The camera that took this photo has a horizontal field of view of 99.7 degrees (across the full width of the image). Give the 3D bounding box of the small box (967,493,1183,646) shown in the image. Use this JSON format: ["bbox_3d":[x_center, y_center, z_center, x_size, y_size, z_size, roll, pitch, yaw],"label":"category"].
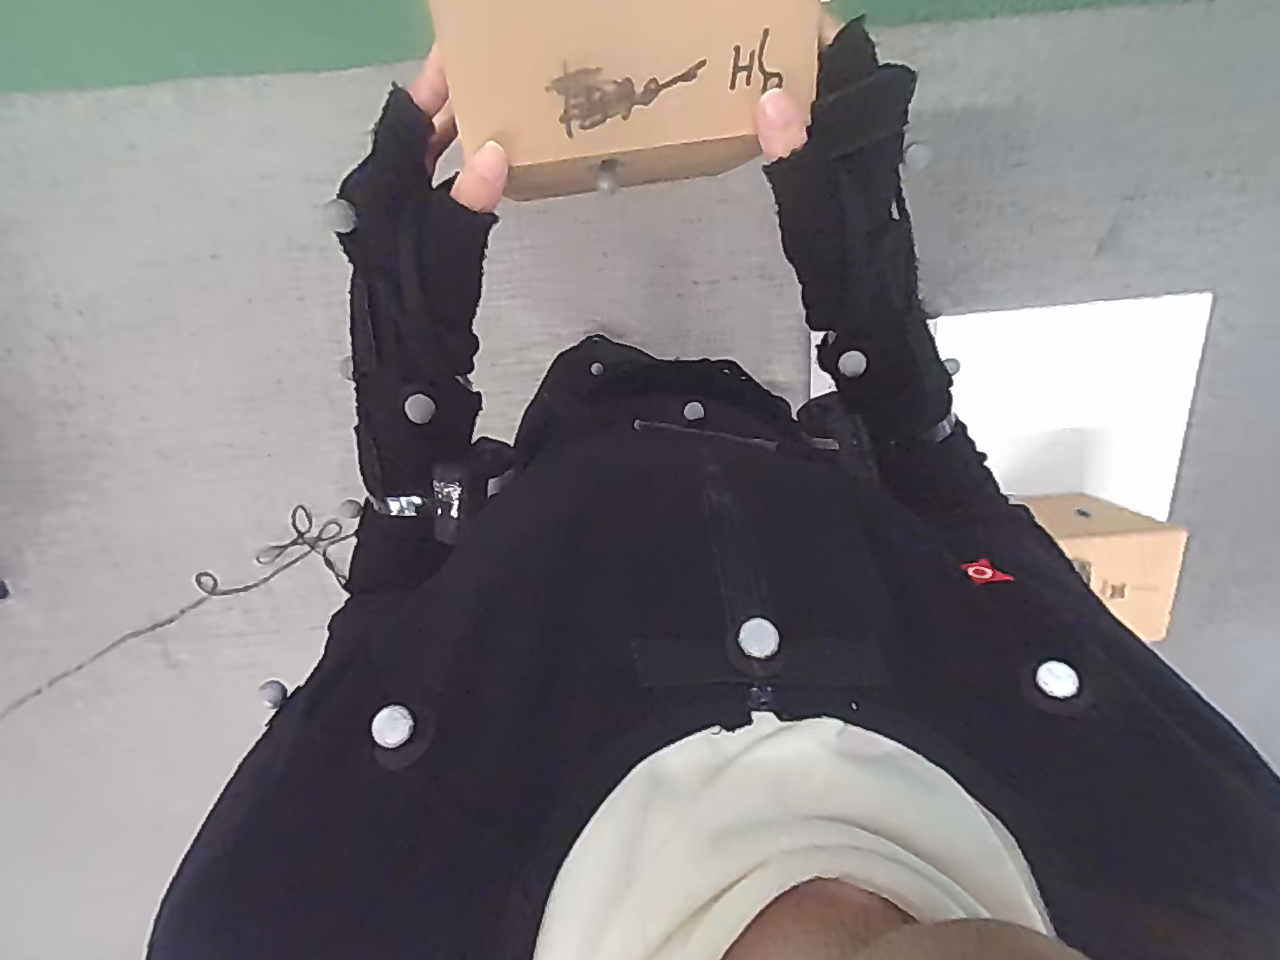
[{"bbox_3d":[0.617,0.123,0.793,0.179,0.176,0.168,-4,106,-1],"label":"small box"}]

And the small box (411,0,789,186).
[{"bbox_3d":[-0.029,-0.274,0.291,0.168,0.176,0.179,-9,114,-2],"label":"small box"}]
